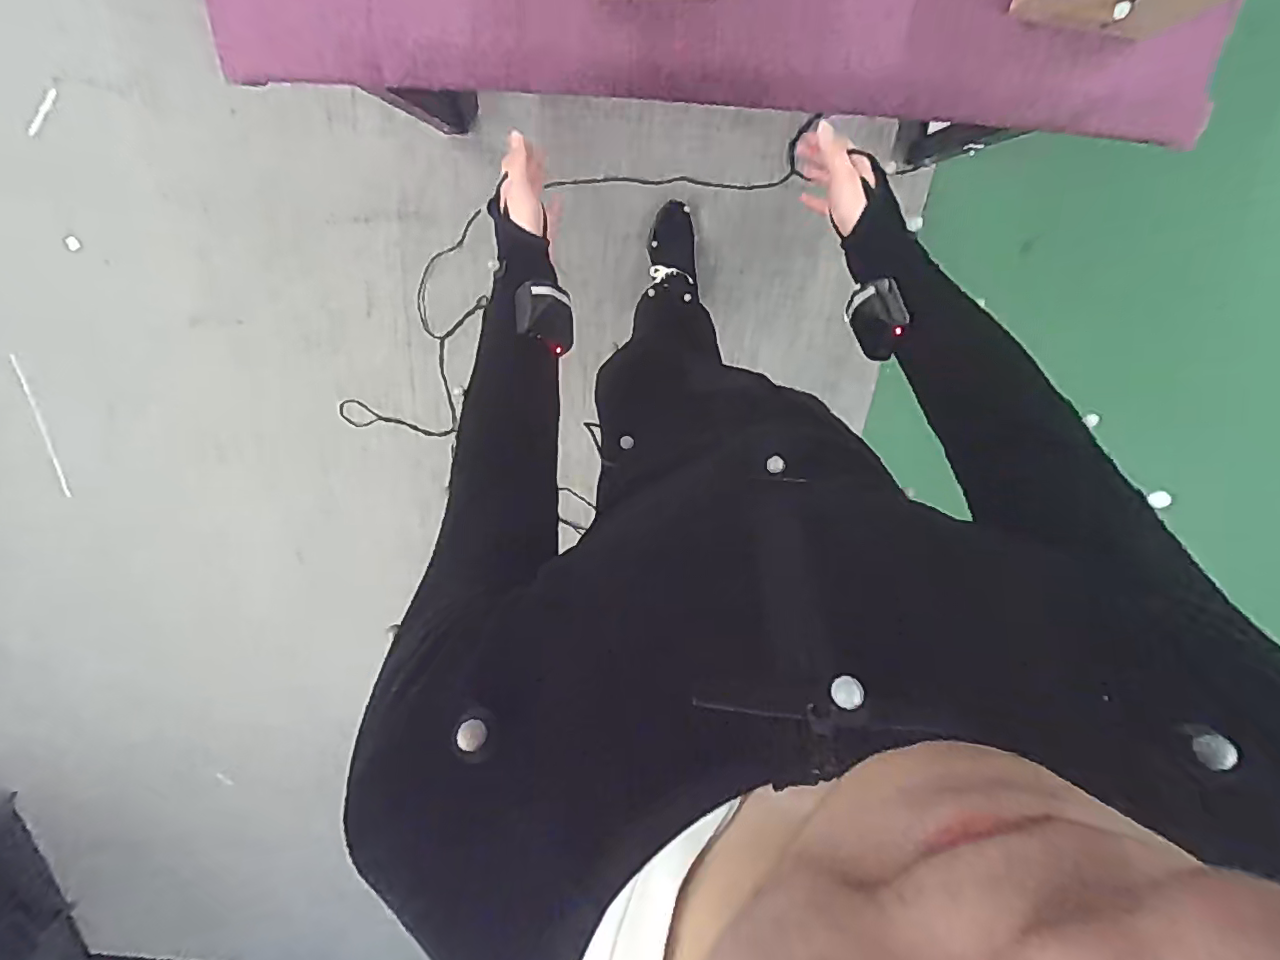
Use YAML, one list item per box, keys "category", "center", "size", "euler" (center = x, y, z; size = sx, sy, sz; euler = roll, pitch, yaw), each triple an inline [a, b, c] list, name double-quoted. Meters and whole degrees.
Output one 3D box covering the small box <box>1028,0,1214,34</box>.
- category: "small box"
  center: [0.512, -0.567, 0.514]
  size: [0.168, 0.176, 0.179]
  euler: [9, 112, 0]
